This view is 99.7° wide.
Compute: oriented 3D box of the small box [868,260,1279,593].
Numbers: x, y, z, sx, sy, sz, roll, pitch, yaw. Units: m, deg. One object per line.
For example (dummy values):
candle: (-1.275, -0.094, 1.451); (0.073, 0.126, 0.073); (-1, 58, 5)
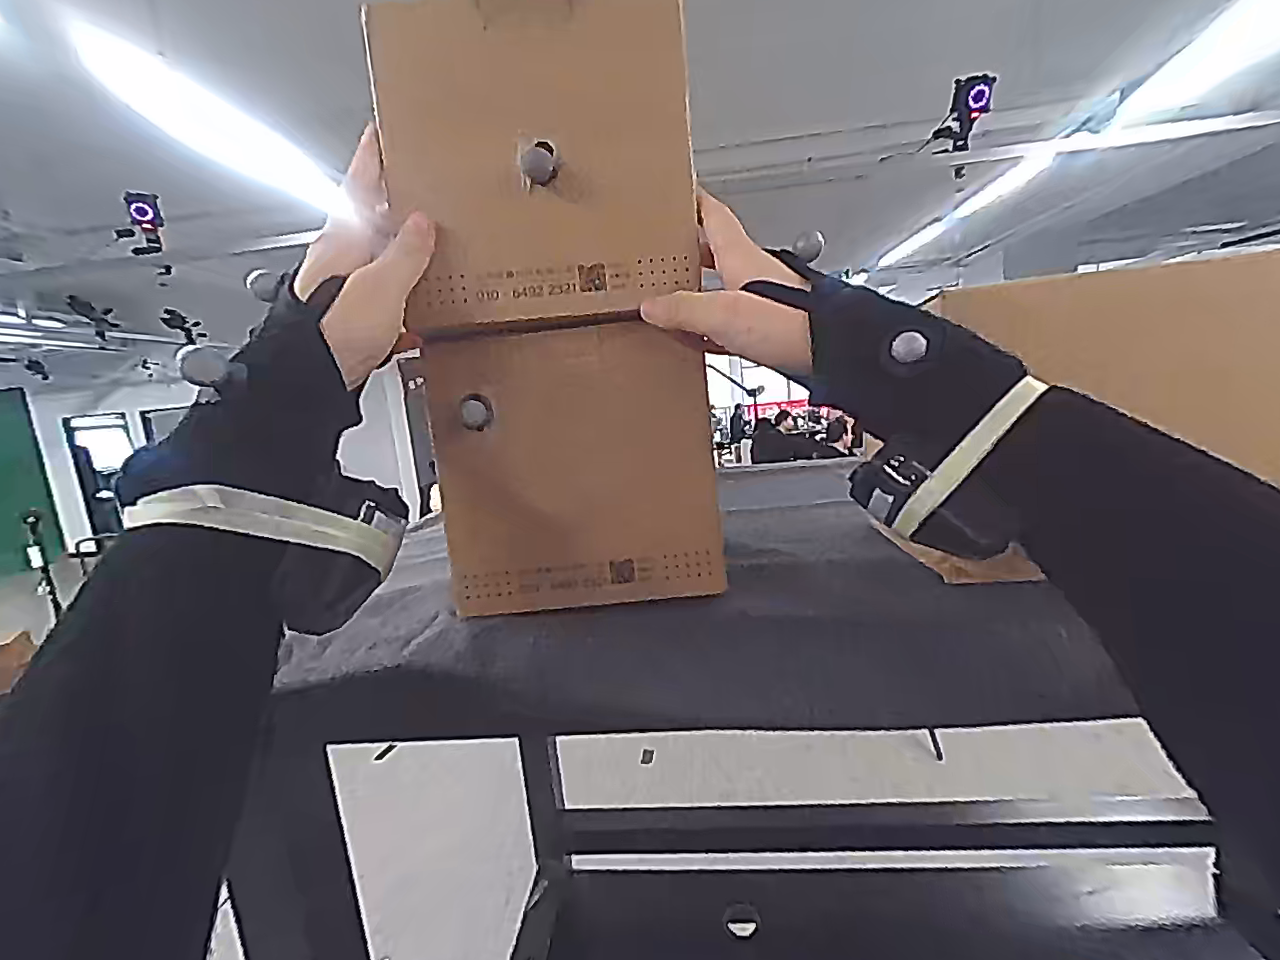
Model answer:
small box: (0.263, -0.031, 0.366); (0.168, 0.176, 0.179); (-5, 7, 9)

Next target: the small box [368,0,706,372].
small box: (-0.053, -0.171, 0.366); (0.168, 0.176, 0.179); (-5, 7, -2)
